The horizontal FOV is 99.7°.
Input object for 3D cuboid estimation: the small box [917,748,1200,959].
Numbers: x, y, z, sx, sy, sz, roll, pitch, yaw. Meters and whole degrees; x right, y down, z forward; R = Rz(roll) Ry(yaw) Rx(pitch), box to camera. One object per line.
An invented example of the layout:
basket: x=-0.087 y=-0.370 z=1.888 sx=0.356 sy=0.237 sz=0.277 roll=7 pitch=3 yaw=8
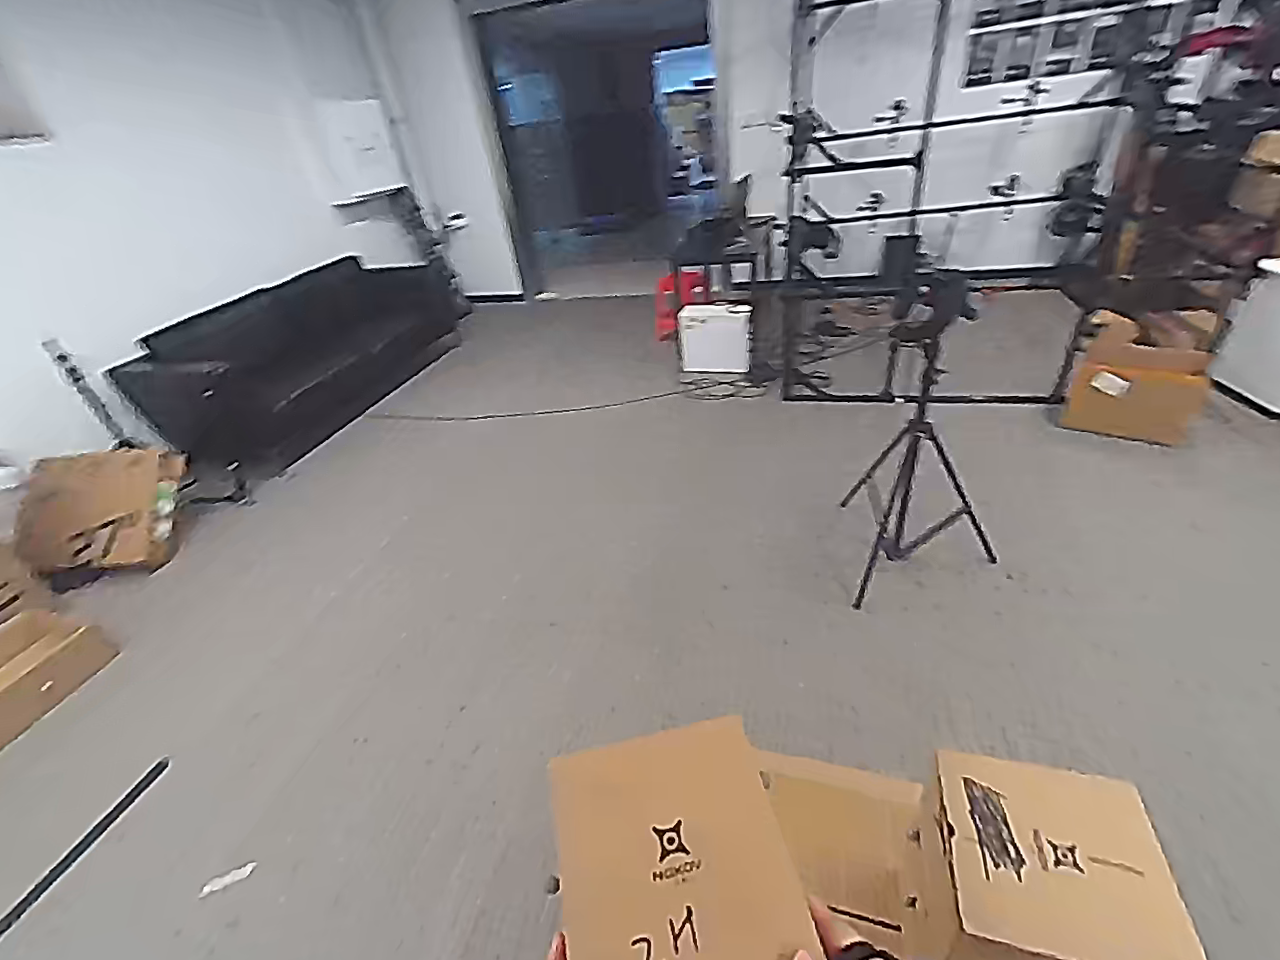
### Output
small box: x=0.382 y=0.402 z=0.535 sx=0.179 sy=0.176 sz=0.168 roll=3 pitch=36 yaw=19

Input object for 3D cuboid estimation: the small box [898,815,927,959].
small box: x=0.403 y=0.537 z=0.628 sx=0.168 sy=0.176 sz=0.179 roll=2 pitch=36 yaw=19

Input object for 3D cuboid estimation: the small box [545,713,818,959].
small box: x=0.018 y=0.331 z=0.451 sx=0.168 sy=0.176 sz=0.179 roll=-10 pitch=44 yaw=-10
